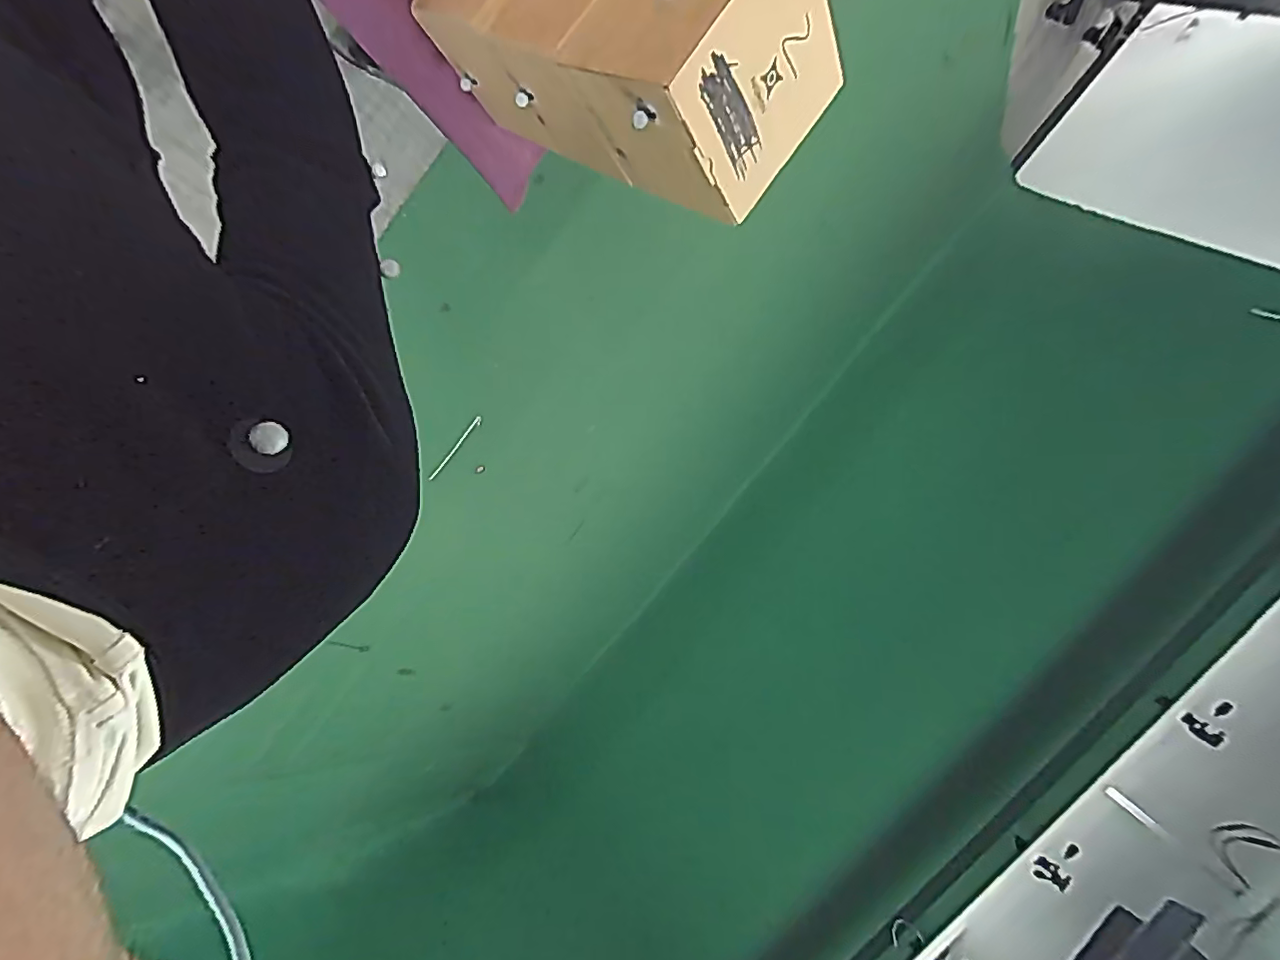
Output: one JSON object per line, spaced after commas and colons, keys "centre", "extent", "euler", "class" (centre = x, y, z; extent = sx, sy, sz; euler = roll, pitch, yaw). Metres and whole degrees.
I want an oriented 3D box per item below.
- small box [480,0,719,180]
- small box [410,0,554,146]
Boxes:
{"centre": [-0.046, -0.492, 0.614], "extent": [0.179, 0.176, 0.168], "euler": [-50, 147, 3], "class": "small box"}
{"centre": [-0.153, -0.584, 0.696], "extent": [0.168, 0.176, 0.179], "euler": [-50, 149, 3], "class": "small box"}
